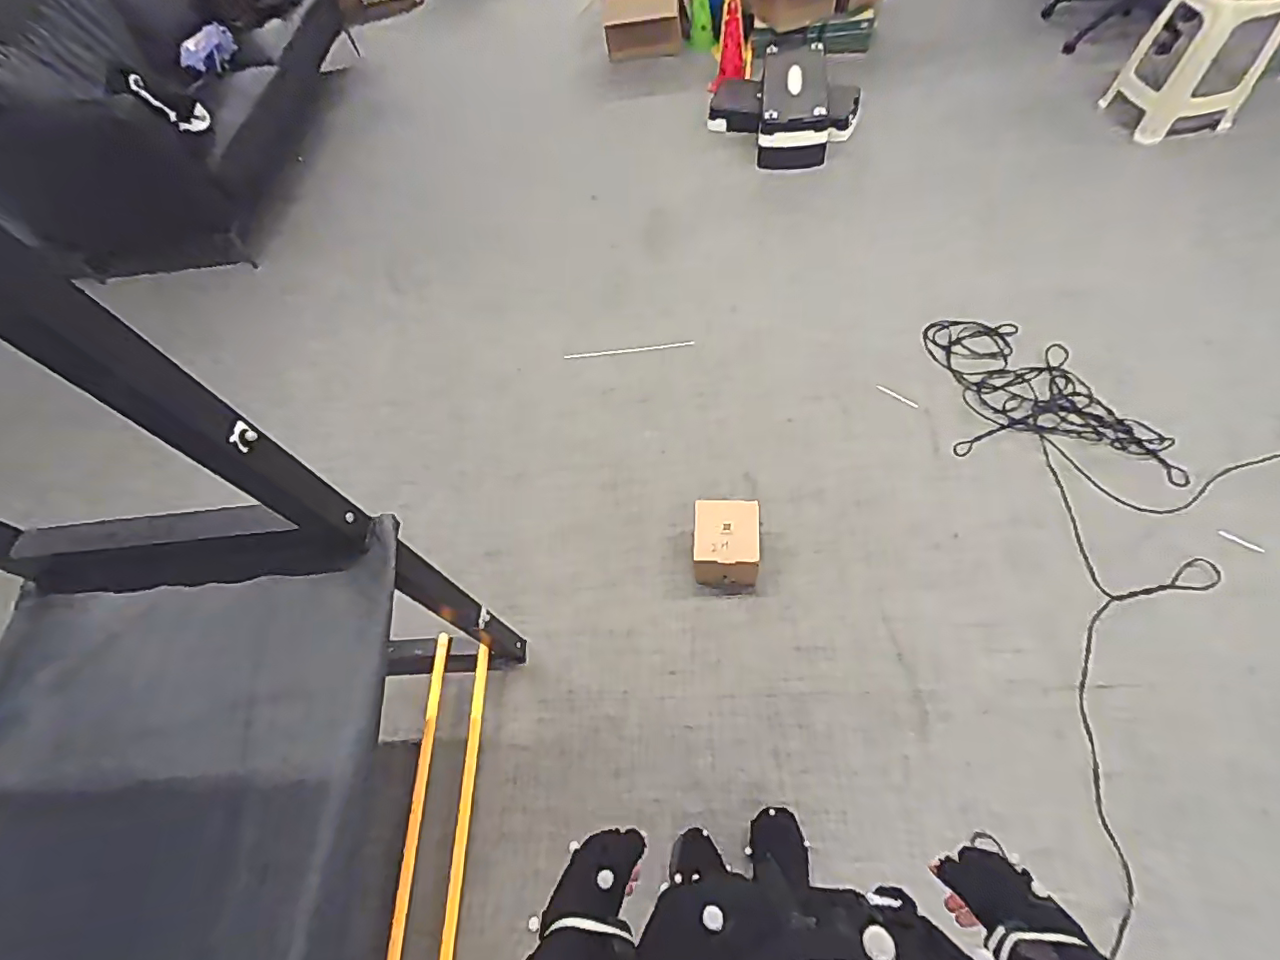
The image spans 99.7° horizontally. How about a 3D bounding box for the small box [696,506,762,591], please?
[{"bbox_3d":[0.239,0.185,1.458,0.168,0.176,0.179,0,60,10],"label":"small box"}]
